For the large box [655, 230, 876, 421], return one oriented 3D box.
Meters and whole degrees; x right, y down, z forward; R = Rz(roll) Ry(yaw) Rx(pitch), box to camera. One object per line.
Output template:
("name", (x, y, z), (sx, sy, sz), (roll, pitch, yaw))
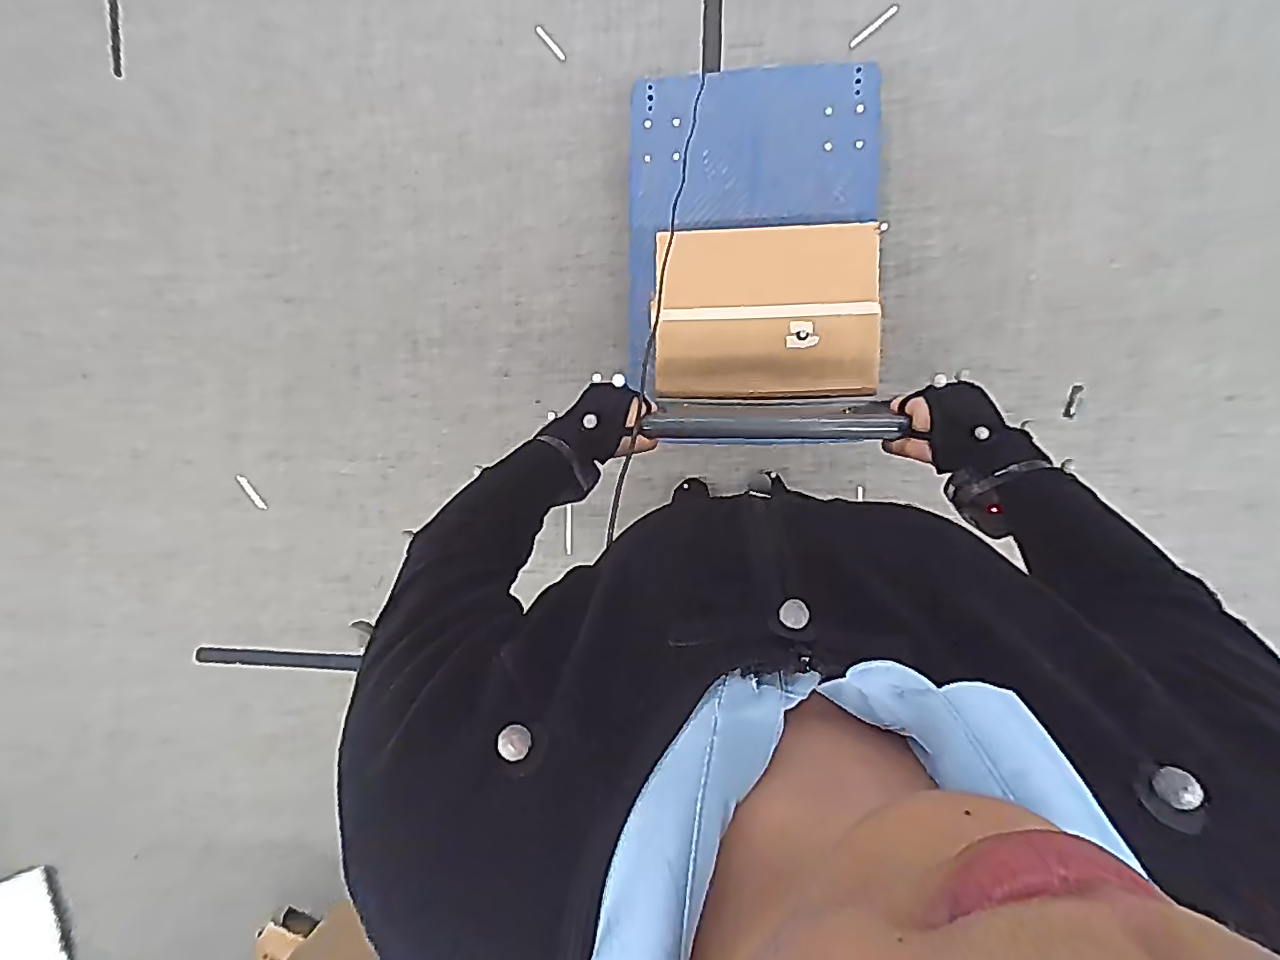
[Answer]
("large box", (0.242, -0.297, 1.141), (0.408, 0.320, 0.320), (0, 92, 6))
